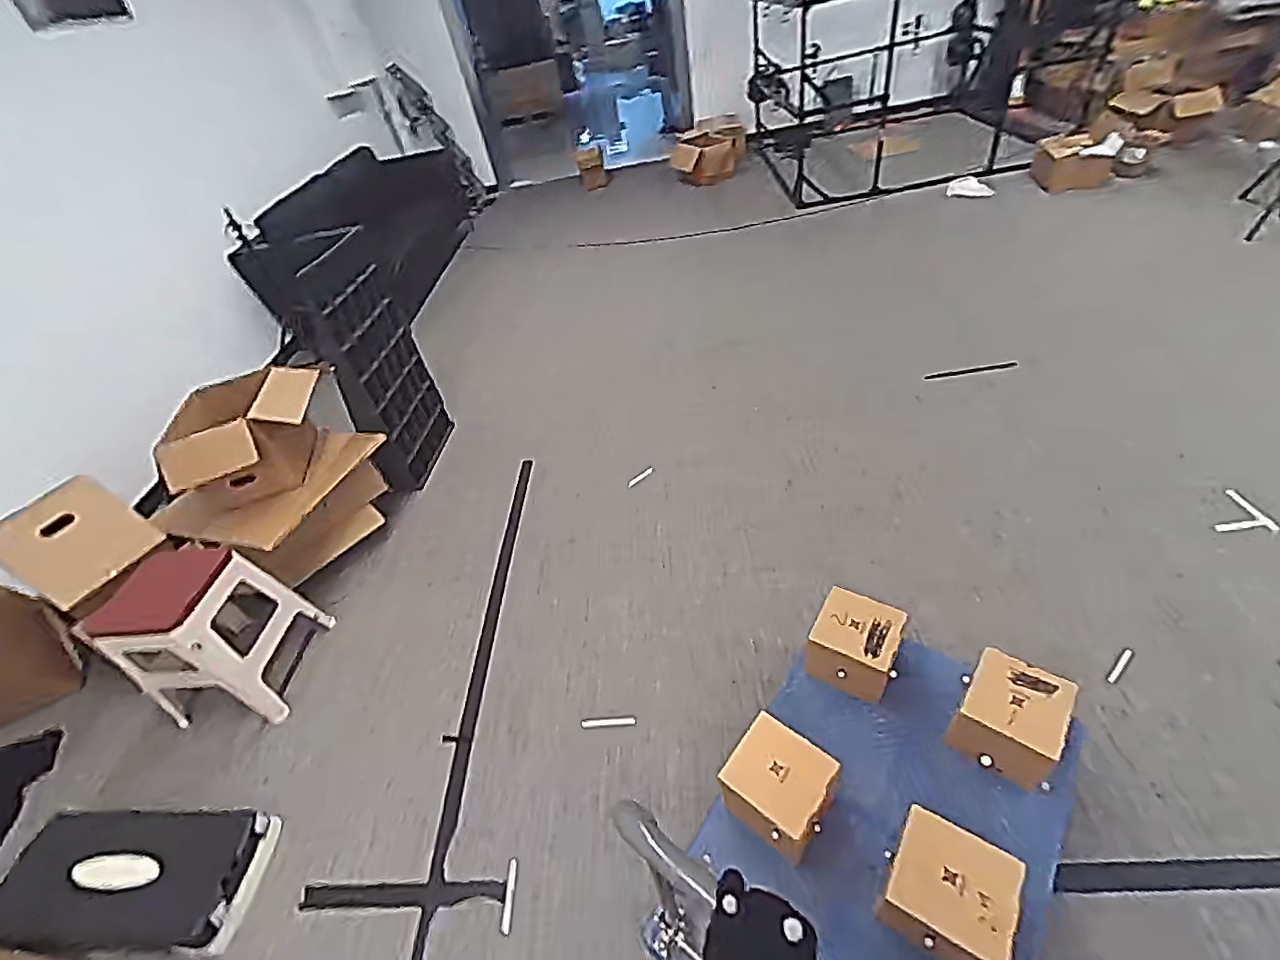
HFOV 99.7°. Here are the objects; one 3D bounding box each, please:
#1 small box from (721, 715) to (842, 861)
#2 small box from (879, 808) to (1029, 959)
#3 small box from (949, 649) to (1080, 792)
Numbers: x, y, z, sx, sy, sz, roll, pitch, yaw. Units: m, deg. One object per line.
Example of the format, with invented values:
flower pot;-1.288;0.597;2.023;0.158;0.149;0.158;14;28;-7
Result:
small box;0.282;0.623;1.092;0.179;0.176;0.168;26;54;33
small box;0.528;0.715;0.927;0.179;0.176;0.168;19;51;31
small box;0.761;0.493;1.112;0.168;0.176;0.179;23;54;33
